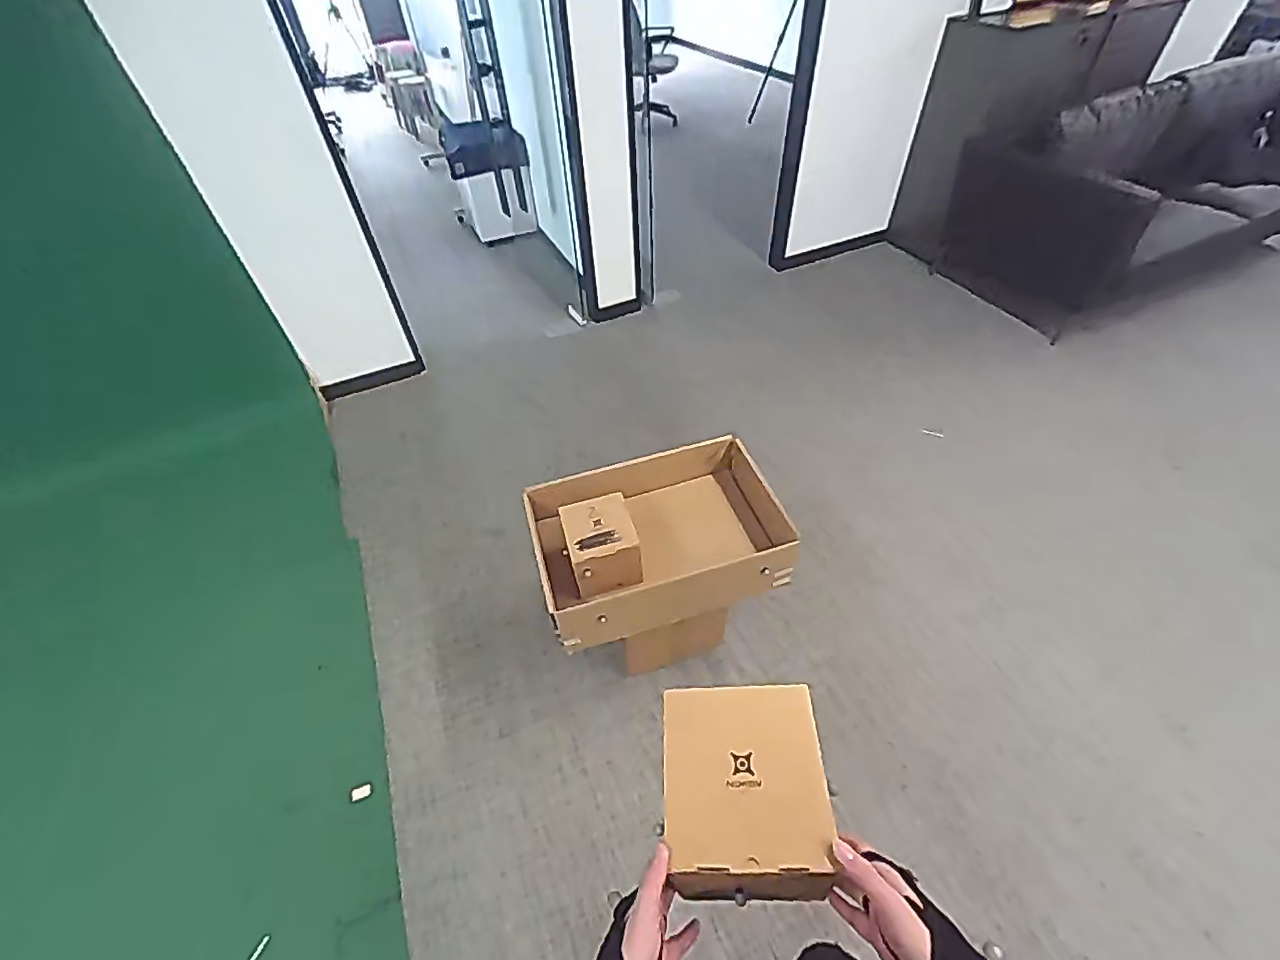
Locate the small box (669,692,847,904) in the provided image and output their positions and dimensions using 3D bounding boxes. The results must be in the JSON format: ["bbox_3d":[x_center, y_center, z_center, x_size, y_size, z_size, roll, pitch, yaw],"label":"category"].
[{"bbox_3d":[0.119,0.361,0.614,0.168,0.176,0.179,-4,47,6],"label":"small box"}]
